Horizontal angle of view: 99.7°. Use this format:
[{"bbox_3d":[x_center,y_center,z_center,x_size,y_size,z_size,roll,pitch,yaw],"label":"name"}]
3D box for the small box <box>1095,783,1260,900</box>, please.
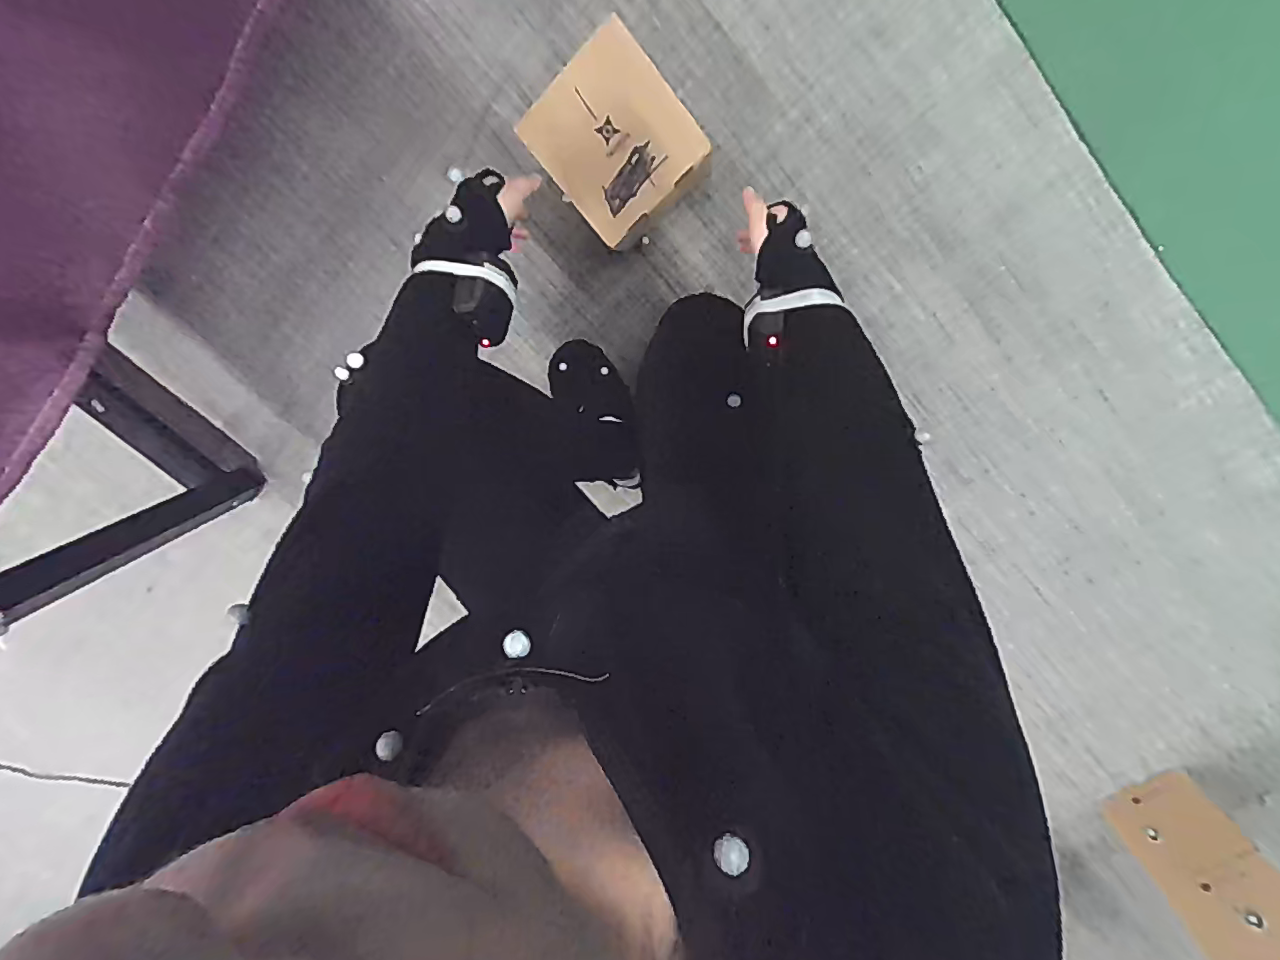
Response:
[{"bbox_3d":[1.018,0.703,1.011,0.168,0.176,0.179,-41,102,21],"label":"small box"}]
